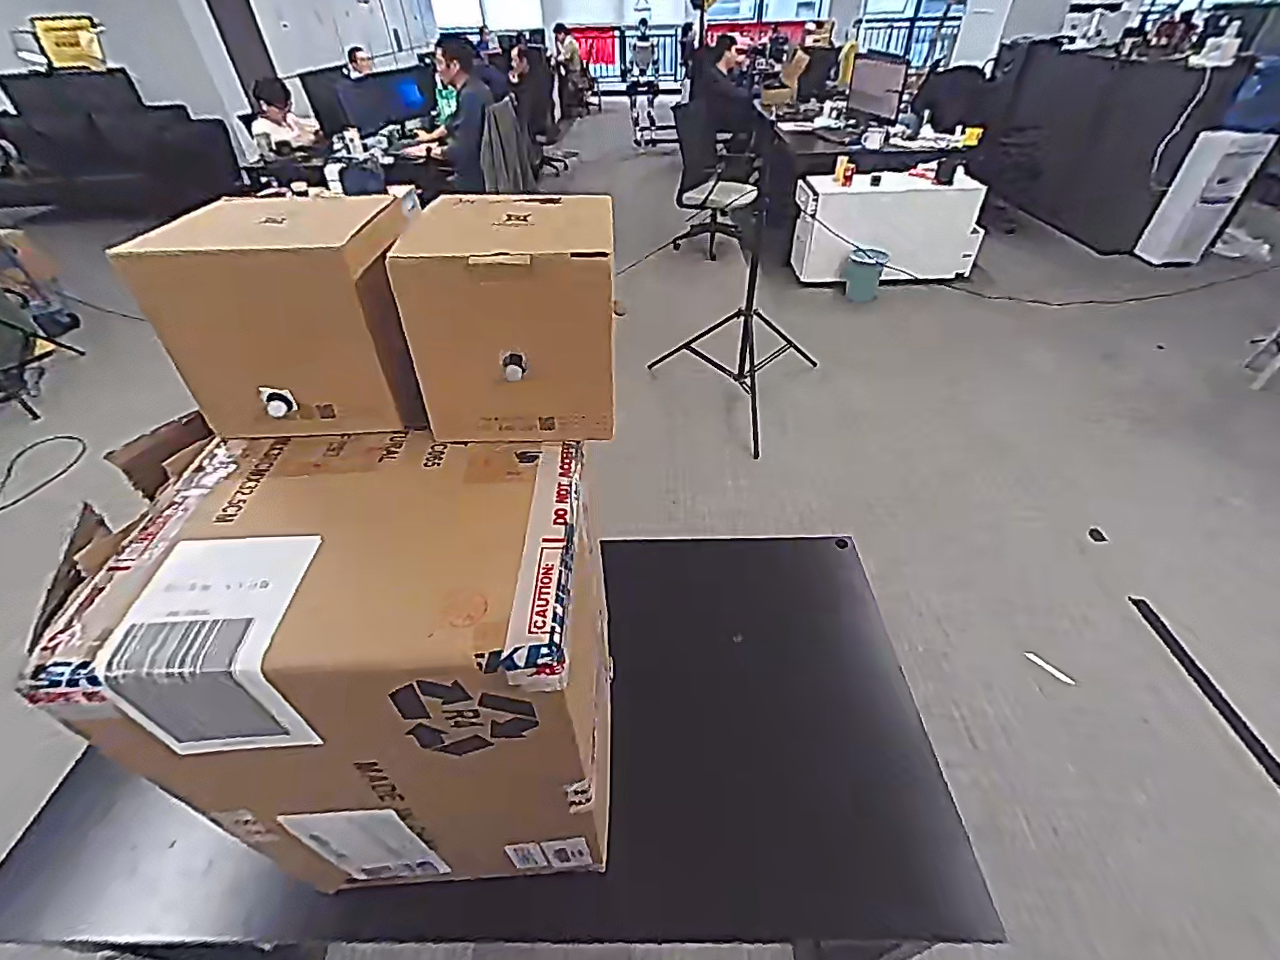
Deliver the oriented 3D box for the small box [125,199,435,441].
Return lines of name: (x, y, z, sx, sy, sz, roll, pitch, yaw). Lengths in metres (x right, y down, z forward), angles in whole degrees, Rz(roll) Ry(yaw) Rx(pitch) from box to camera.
small box: (-0.308, -0.156, 0.517, 0.168, 0.176, 0.179, -5, 40, -5)
